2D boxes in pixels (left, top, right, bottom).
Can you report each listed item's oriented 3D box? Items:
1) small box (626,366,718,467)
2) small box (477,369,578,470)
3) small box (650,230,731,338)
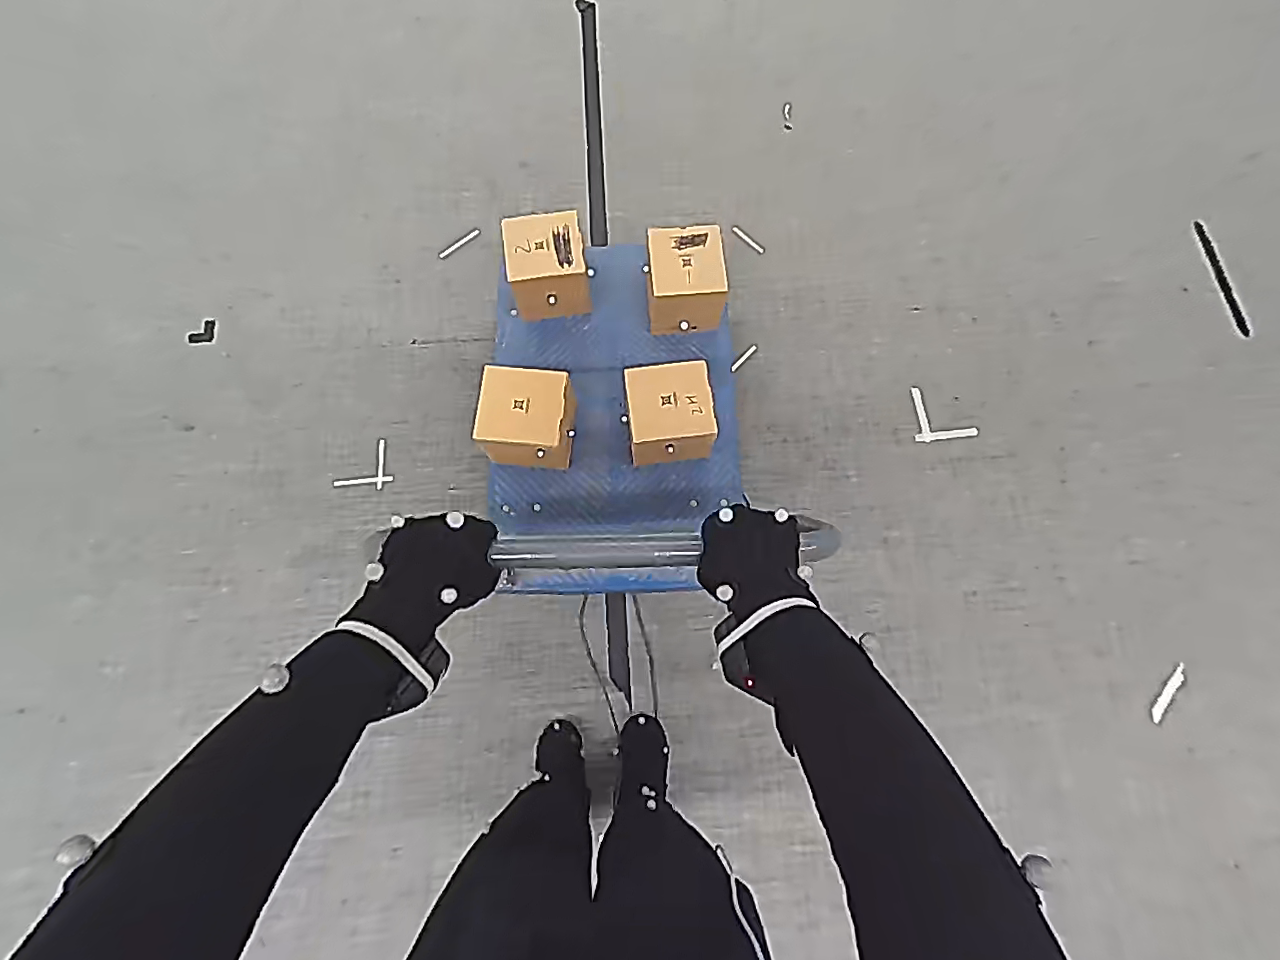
[{"bbox_3d":[0.067,-0.133,1.191,0.179,0.176,0.168,-6,75,-2],"label":"small box"},{"bbox_3d":[-0.238,-0.126,1.187,0.179,0.176,0.168,5,75,-1],"label":"small box"},{"bbox_3d":[0.112,-0.458,1.278,0.168,0.176,0.179,-4,76,-1],"label":"small box"}]
